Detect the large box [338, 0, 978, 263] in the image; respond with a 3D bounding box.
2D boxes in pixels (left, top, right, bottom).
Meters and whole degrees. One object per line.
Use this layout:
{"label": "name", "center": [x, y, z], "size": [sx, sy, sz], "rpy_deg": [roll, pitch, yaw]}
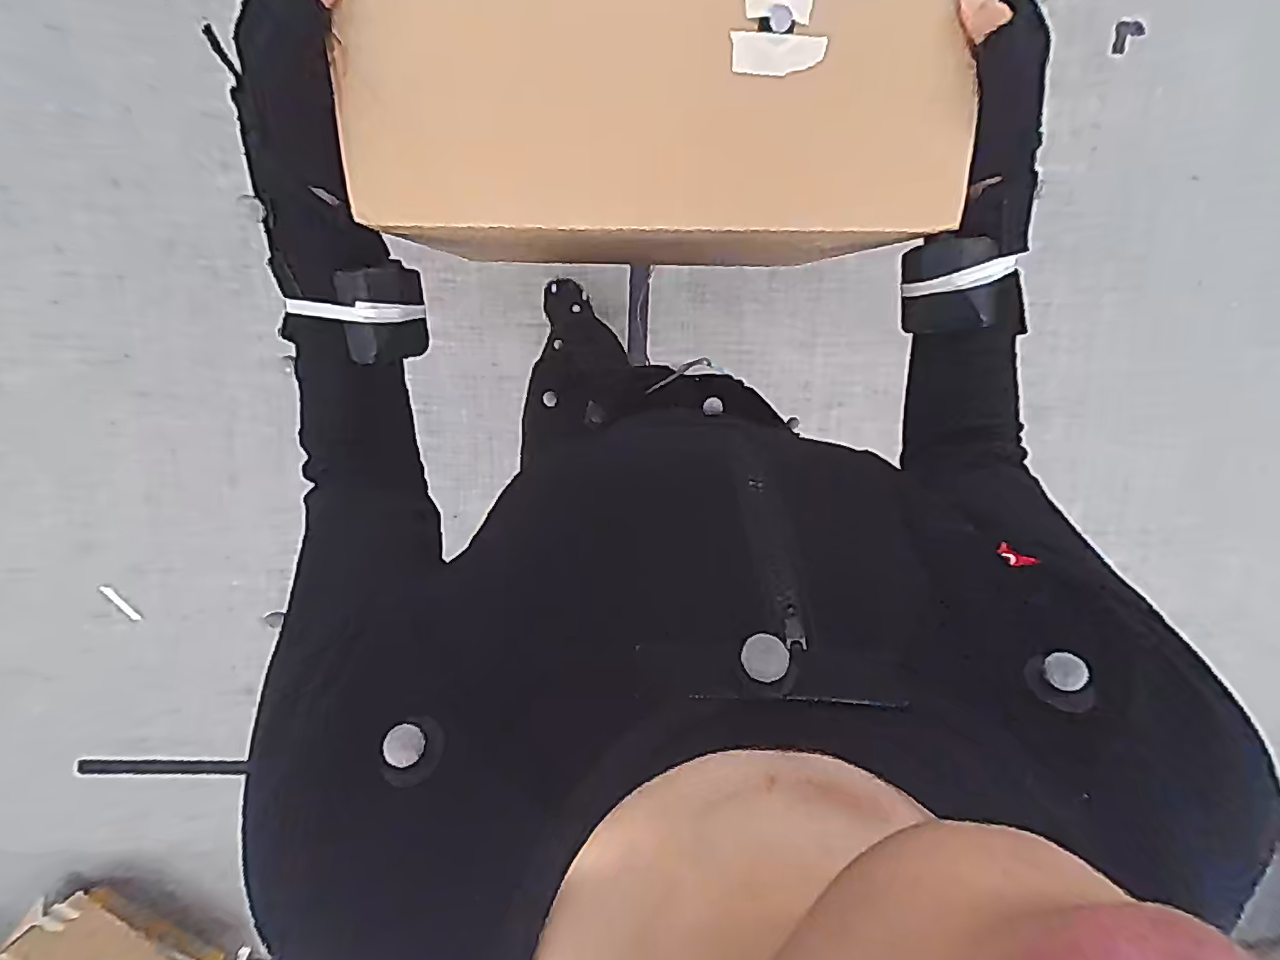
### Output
{"label": "large box", "center": [0.005, -0.365, 0.466], "size": [0.408, 0.320, 0.320], "rpy_deg": [-1, 109, -4]}
